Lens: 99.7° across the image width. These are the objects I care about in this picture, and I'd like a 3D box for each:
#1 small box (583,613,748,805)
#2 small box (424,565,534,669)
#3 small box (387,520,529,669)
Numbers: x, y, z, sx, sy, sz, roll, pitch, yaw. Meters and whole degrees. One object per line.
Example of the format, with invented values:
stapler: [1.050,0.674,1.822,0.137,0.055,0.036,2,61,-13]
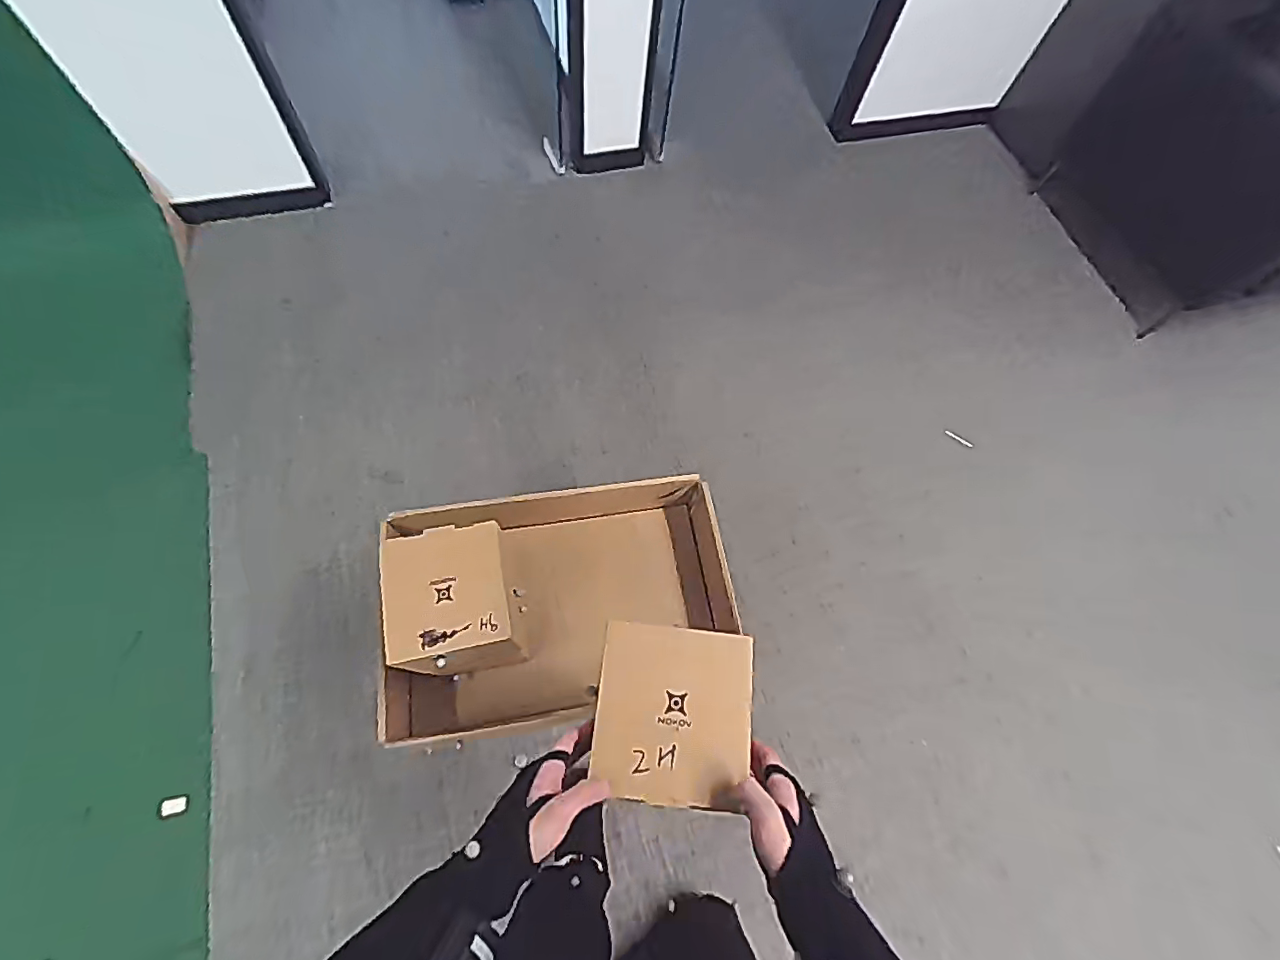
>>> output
small box: [0.028,0.270,0.656,0.168,0.176,0.179,7,69,1]
small box: [-0.292,0.244,0.991,0.168,0.176,0.179,-8,68,-8]
small box: [-0.276,0.183,0.839,0.168,0.176,0.179,-12,69,-7]
